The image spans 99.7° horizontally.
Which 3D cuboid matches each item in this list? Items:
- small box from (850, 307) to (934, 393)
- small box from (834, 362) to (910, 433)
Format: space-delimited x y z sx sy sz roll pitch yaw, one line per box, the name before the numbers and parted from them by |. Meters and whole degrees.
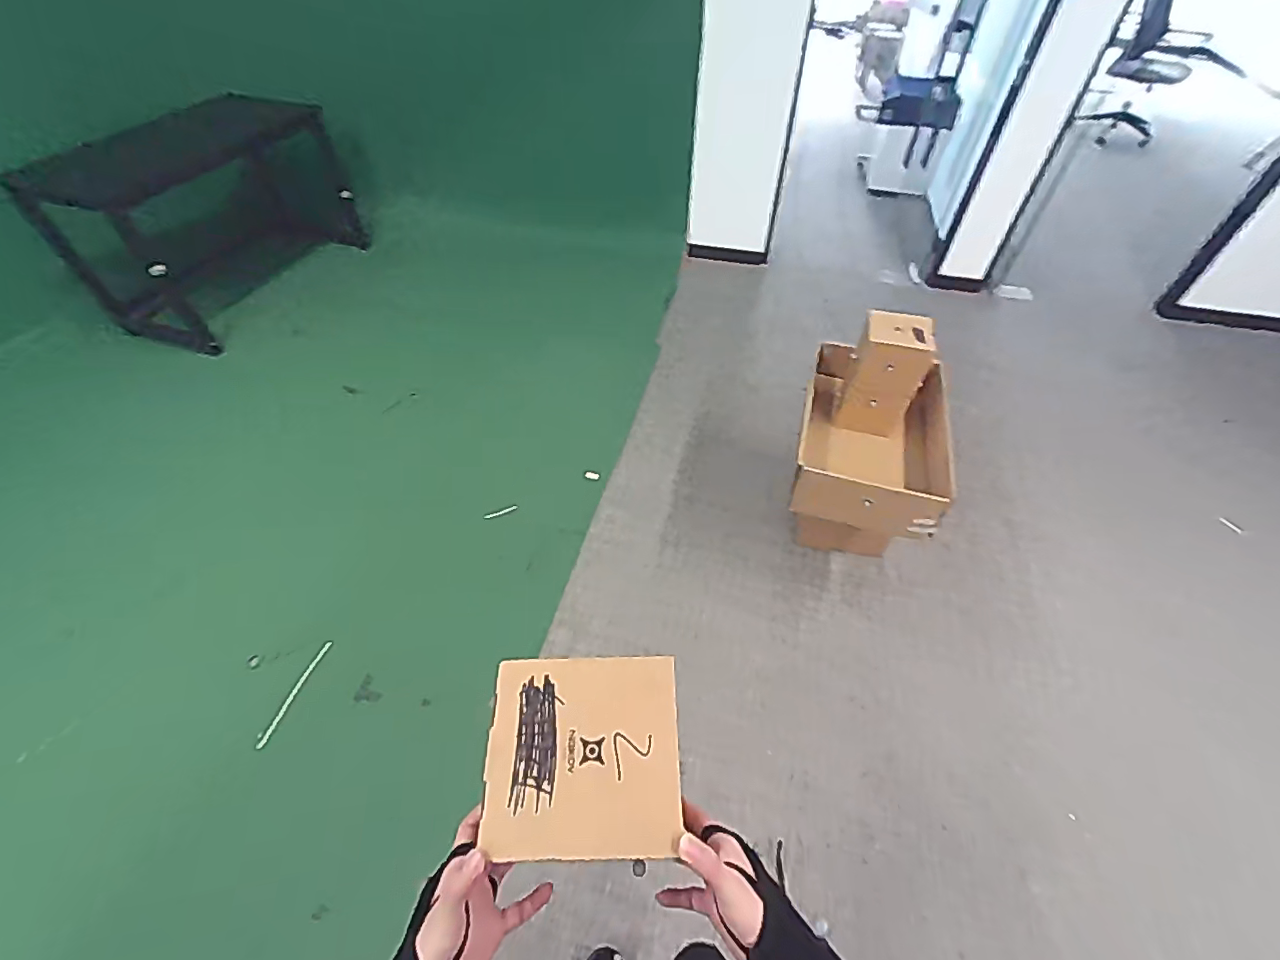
small box | 0.726 -0.373 1.569 0.179 0.176 0.168 12 51 10
small box | 0.726 -0.269 1.697 0.179 0.176 0.168 13 51 11
